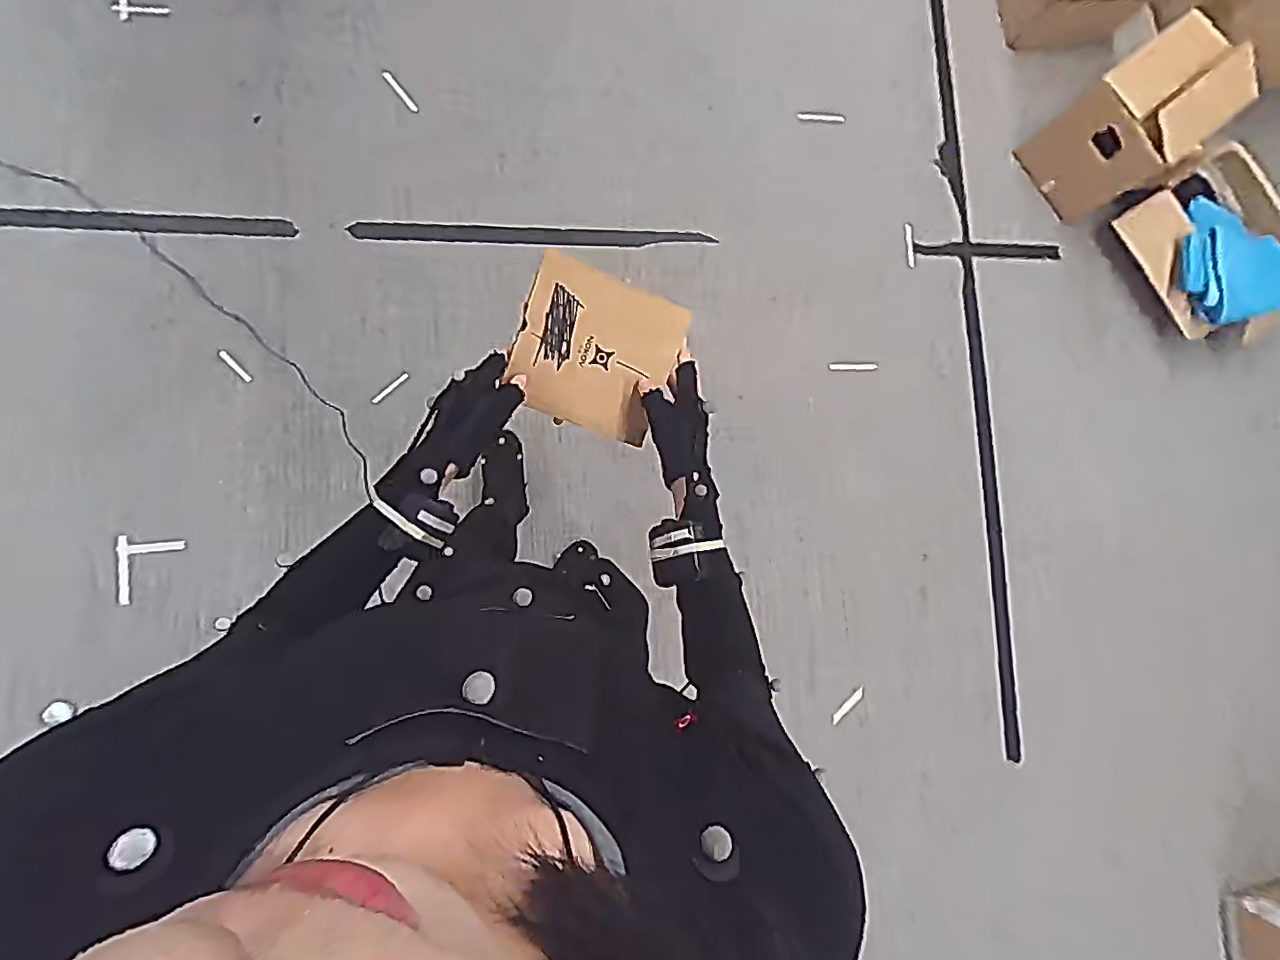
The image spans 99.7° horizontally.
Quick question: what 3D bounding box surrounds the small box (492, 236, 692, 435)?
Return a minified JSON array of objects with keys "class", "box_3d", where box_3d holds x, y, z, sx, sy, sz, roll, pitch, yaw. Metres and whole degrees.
[{"class":"small box","box_3d":[-0.061,-0.169,0.664,0.179,0.176,0.168,19,101,-11]}]
